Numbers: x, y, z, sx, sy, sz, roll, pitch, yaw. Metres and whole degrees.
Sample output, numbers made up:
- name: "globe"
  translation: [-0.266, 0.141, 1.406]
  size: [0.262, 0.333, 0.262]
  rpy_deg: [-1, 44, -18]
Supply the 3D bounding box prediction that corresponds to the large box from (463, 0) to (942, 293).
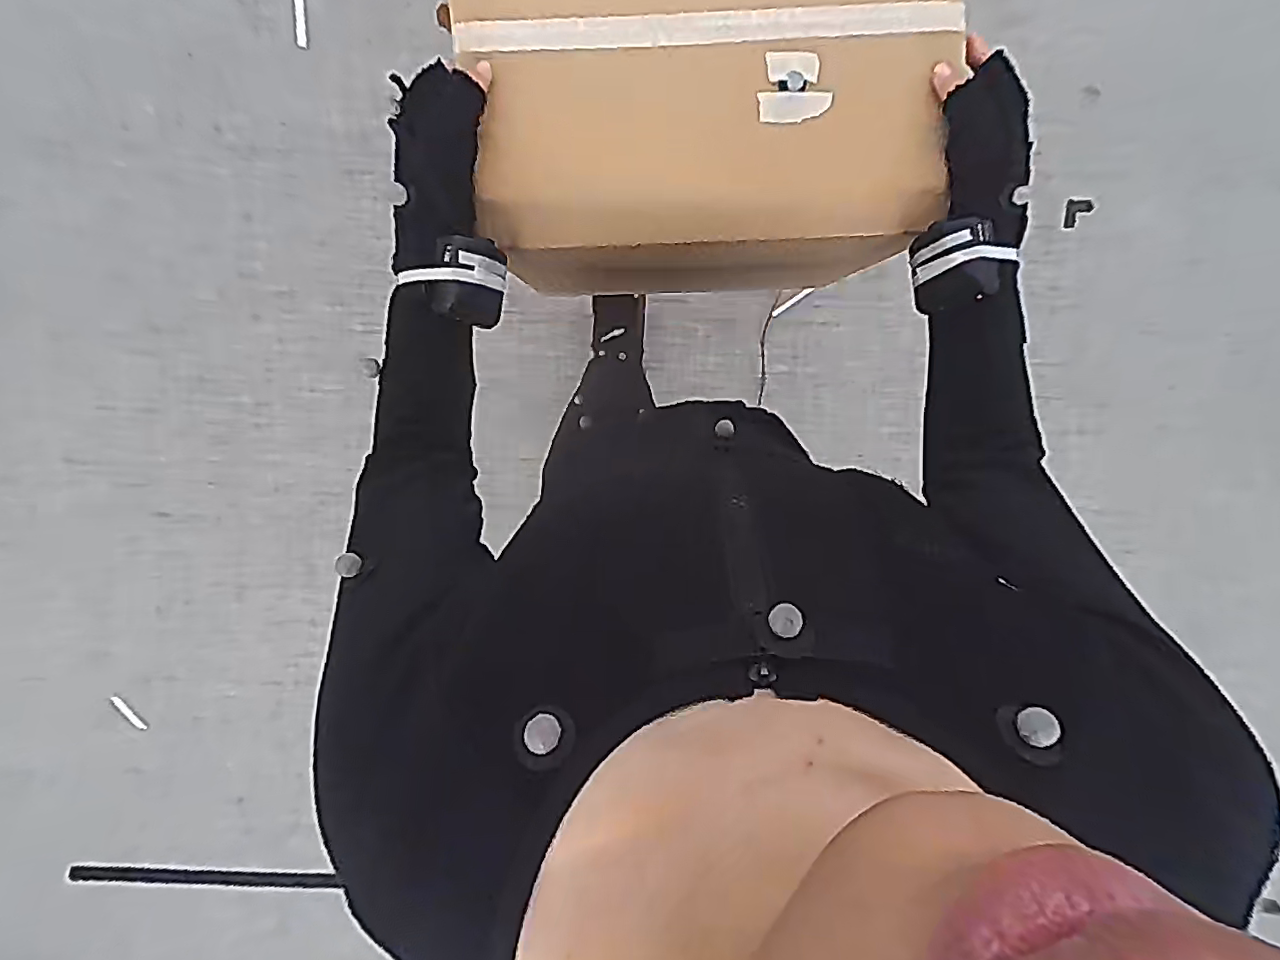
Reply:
- name: "large box"
  translation: [0.050, -0.398, 0.597]
  size: [0.408, 0.320, 0.320]
  rpy_deg: [-3, 102, -1]
